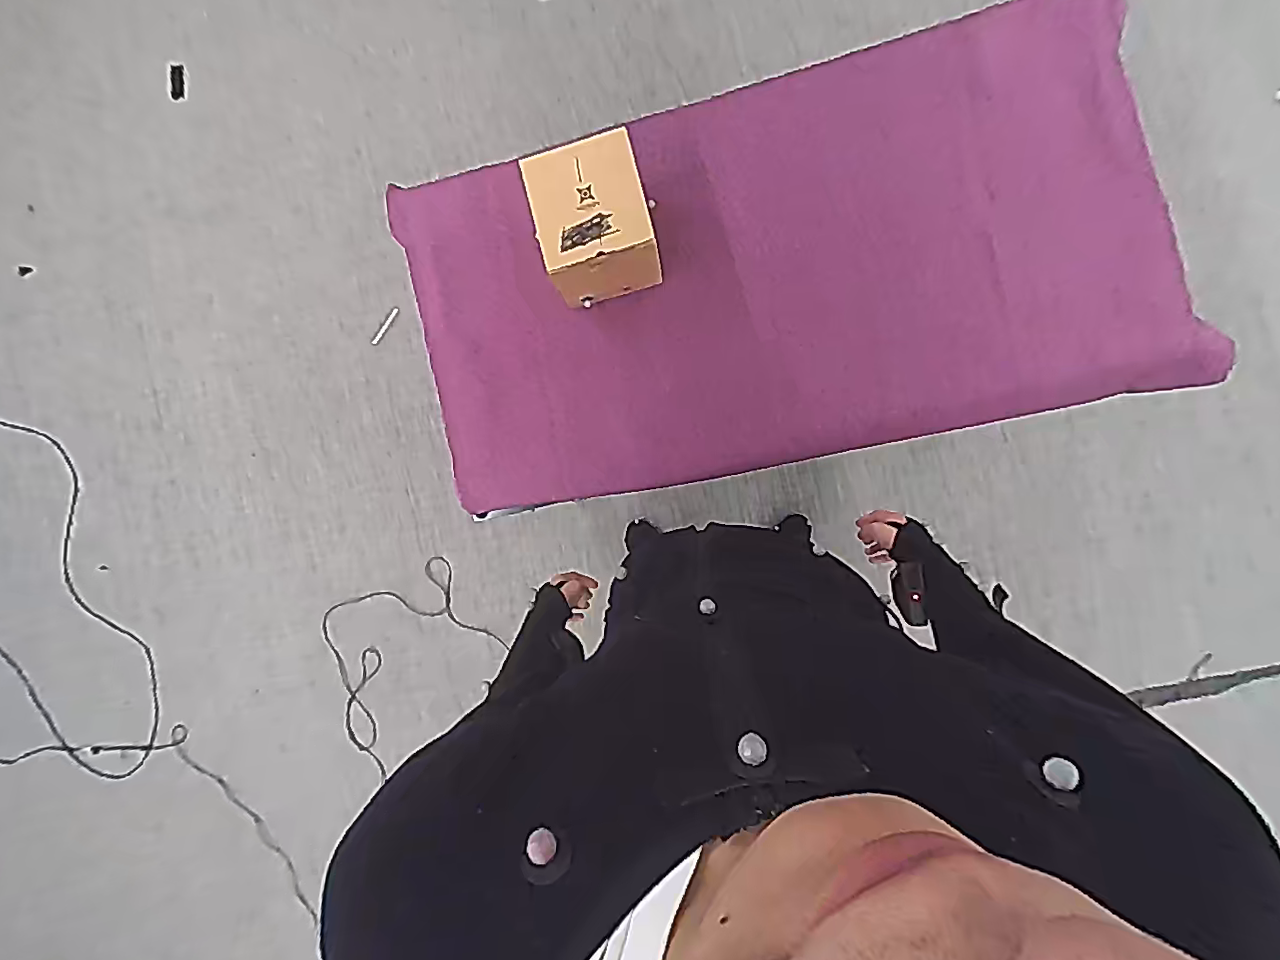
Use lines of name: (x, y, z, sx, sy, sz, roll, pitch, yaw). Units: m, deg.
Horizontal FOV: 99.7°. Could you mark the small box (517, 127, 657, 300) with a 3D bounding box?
small box: (-0.073, -0.404, 0.861, 0.168, 0.176, 0.179, -15, 88, 5)
